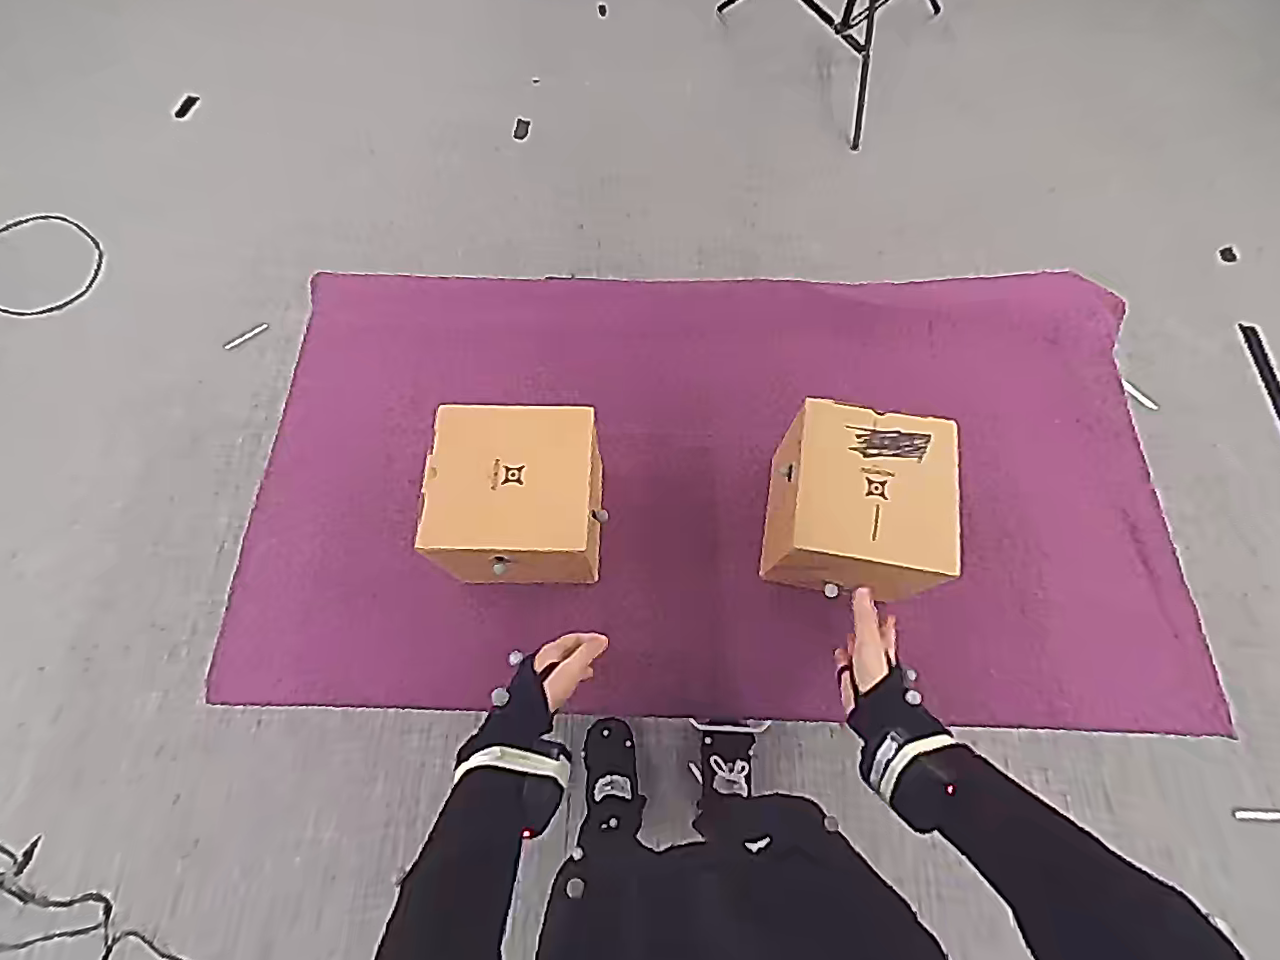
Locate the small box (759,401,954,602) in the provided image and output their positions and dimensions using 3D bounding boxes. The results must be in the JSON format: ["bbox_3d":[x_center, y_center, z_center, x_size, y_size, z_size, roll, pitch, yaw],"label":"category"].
[{"bbox_3d":[0.245,0.033,0.641,0.168,0.176,0.179,11,70,5],"label":"small box"}]

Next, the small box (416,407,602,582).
[{"bbox_3d":[-0.139,0.025,0.648,0.179,0.176,0.168,0,69,1],"label":"small box"}]
